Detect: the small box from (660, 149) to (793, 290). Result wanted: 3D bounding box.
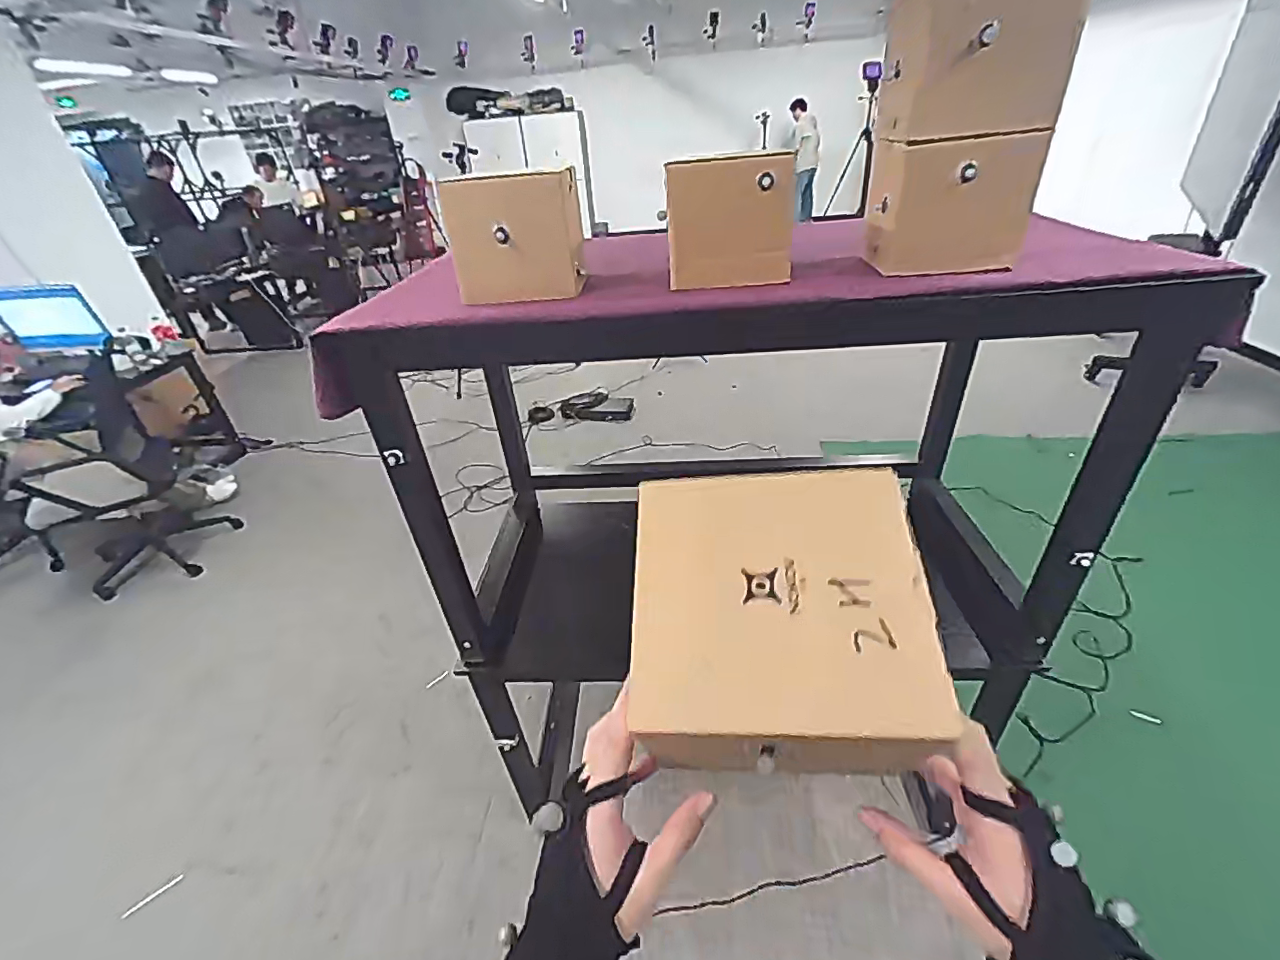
[{"bbox_3d":[0.124,-0.390,0.810,0.179,0.176,0.168,-2,33,5],"label":"small box"}]

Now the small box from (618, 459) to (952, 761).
[{"bbox_3d":[0.090,0.103,0.393,0.179,0.176,0.168,-3,57,9],"label":"small box"}]

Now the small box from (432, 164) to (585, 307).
[{"bbox_3d":[-0.185,-0.375,0.828,0.179,0.176,0.168,-4,33,4],"label":"small box"}]

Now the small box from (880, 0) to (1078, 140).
[{"bbox_3d":[0.415,-0.535,0.685,0.179,0.176,0.168,-2,34,9],"label":"small box"}]

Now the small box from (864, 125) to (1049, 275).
[{"bbox_3d":[0.429,-0.399,0.773,0.179,0.176,0.168,0,34,9],"label":"small box"}]
